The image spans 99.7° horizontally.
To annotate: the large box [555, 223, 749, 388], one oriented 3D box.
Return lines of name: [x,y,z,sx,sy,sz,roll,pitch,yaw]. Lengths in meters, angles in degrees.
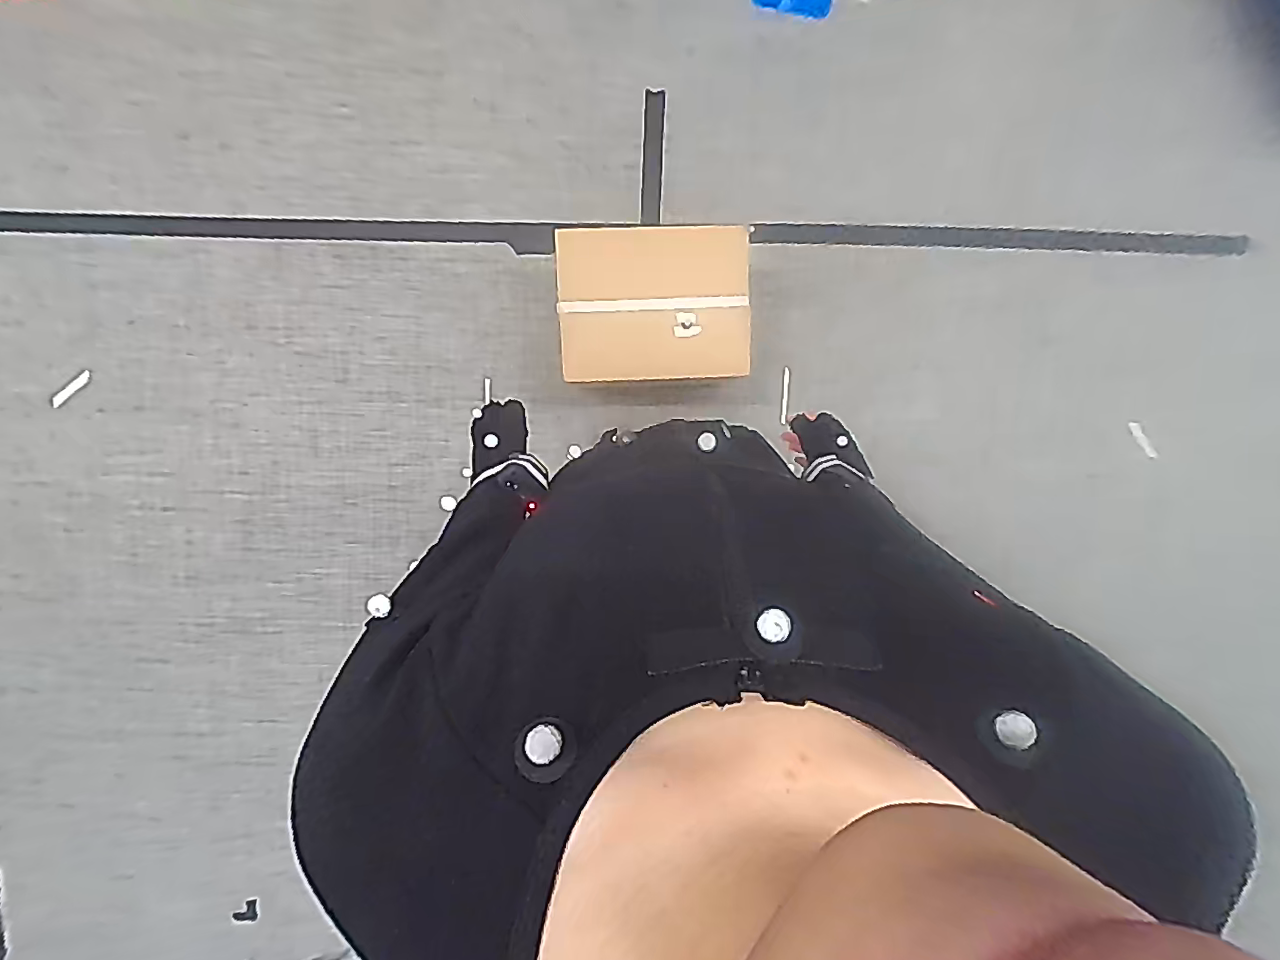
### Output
large box: [0.022,-0.393,1.288,0.408,0.320,0.320,-3,98,-3]
